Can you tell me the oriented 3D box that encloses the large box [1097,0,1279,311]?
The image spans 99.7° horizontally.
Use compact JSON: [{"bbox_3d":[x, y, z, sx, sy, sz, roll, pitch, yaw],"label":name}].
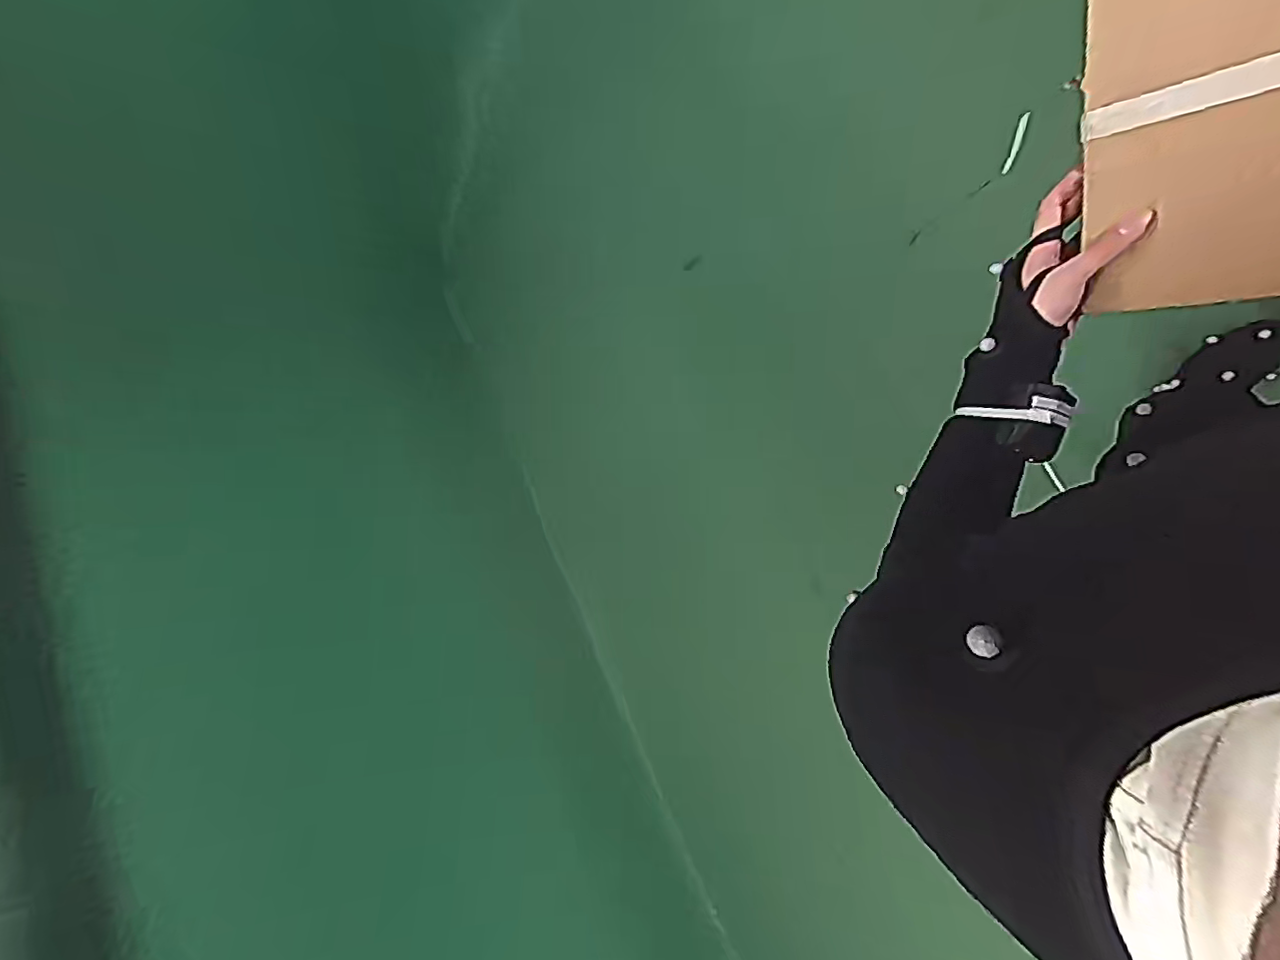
[{"bbox_3d":[0.618,-0.336,0.393,0.408,0.320,0.320,8,121,46],"label":"large box"}]
